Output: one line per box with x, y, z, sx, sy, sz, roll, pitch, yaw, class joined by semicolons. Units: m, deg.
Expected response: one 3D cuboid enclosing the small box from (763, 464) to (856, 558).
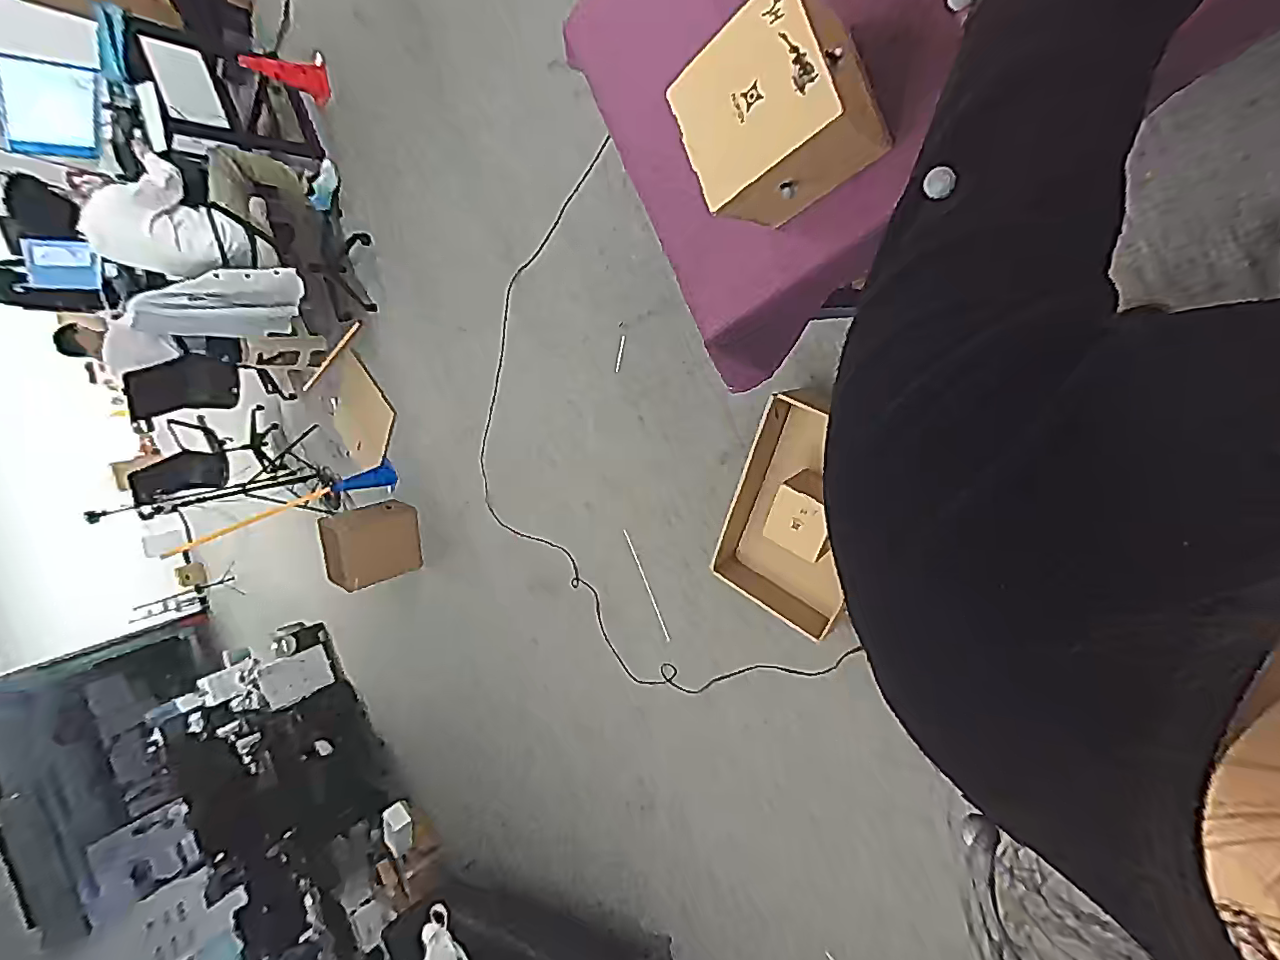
0.476;0.081;1.510;0.168;0.176;0.179;31;124;29;small box

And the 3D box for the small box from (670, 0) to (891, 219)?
0.174;-0.447;0.663;0.179;0.176;0.168;-21;91;44;small box
